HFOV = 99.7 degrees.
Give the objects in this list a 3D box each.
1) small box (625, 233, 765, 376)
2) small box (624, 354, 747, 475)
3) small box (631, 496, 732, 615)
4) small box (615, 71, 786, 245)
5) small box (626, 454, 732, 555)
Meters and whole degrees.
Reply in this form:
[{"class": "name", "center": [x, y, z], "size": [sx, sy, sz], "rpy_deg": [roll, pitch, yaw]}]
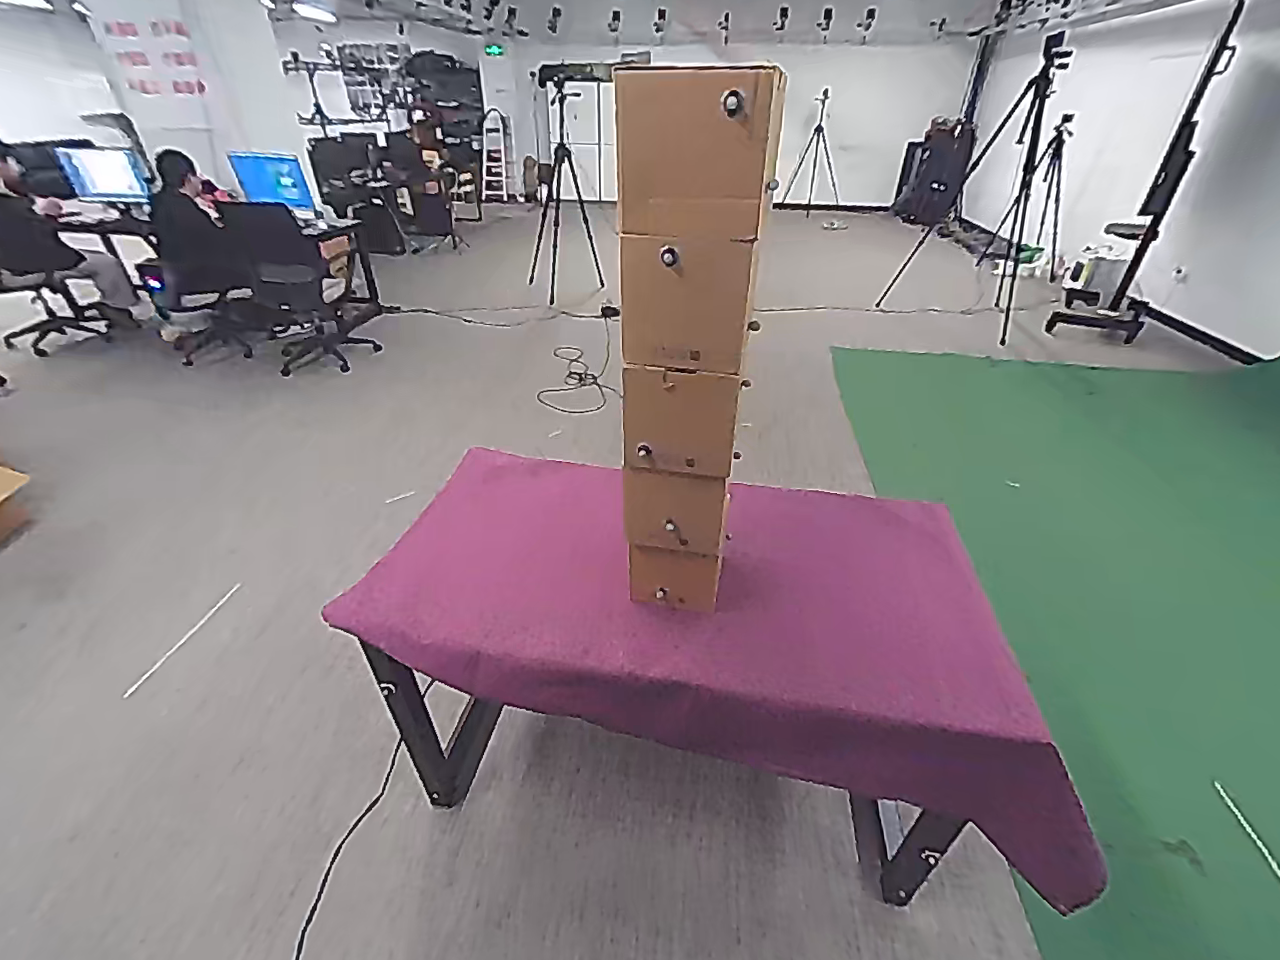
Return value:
[{"class": "small box", "center": [0.078, -0.263, 0.768], "size": [0.168, 0.176, 0.179], "rpy_deg": [8, 34, 12]}, {"class": "small box", "center": [0.077, -0.124, 0.855], "size": [0.168, 0.176, 0.179], "rpy_deg": [8, 34, 11]}, {"class": "small box", "center": [0.080, 0.133, 1.058], "size": [0.168, 0.176, 0.179], "rpy_deg": [8, 35, 12]}, {"class": "small box", "center": [0.077, -0.398, 0.675], "size": [0.179, 0.176, 0.168], "rpy_deg": [10, 36, 13]}, {"class": "small box", "center": [0.074, 0.006, 0.955], "size": [0.168, 0.176, 0.179], "rpy_deg": [7, 35, 11]}]
